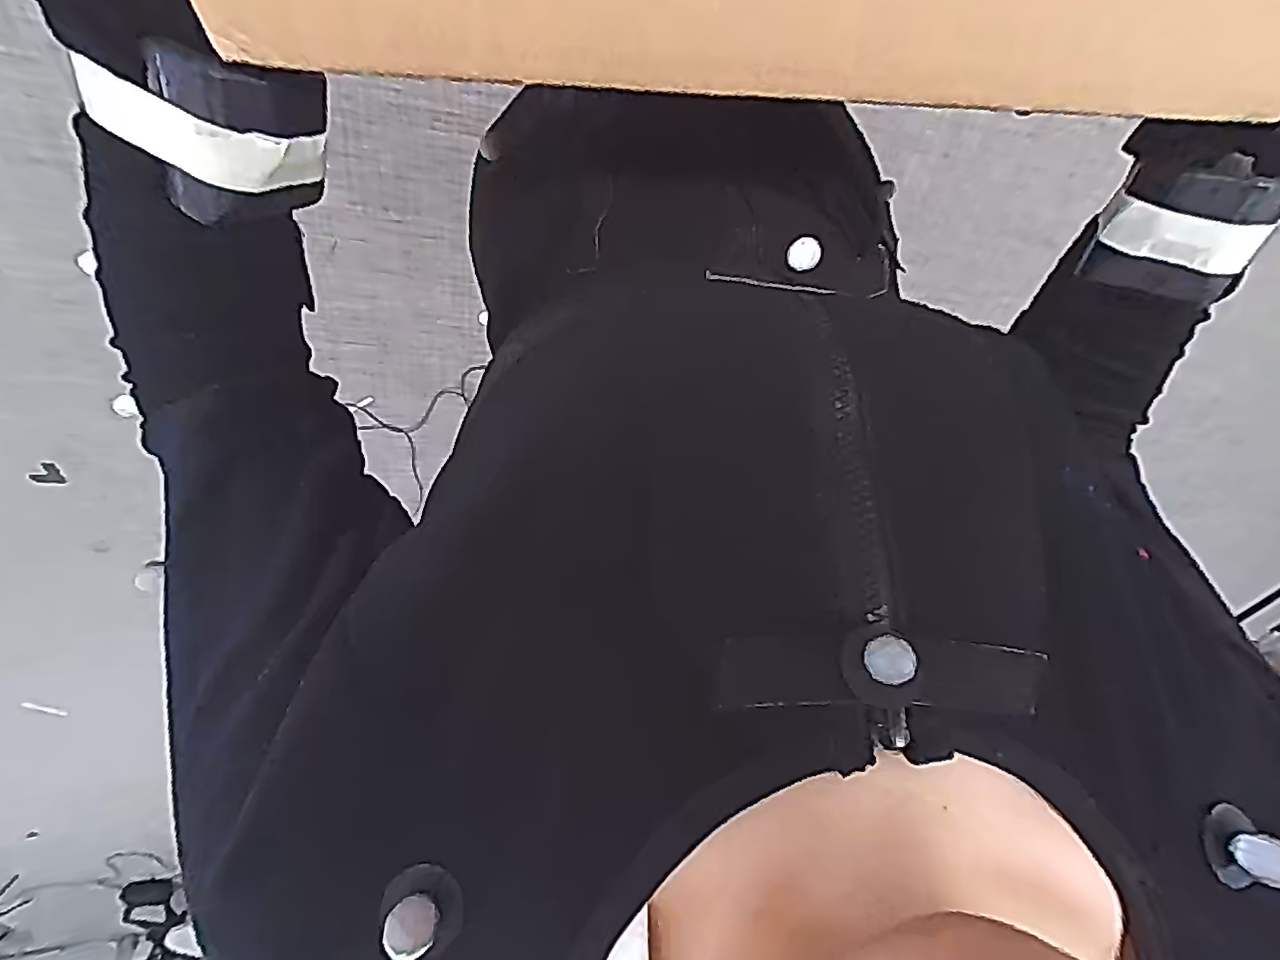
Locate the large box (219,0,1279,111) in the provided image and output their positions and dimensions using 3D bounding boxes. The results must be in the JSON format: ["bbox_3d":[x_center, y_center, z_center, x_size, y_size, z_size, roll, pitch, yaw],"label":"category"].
[{"bbox_3d":[0.057,-0.363,0.180,0.408,0.320,0.320,-2,141,-7],"label":"large box"}]
